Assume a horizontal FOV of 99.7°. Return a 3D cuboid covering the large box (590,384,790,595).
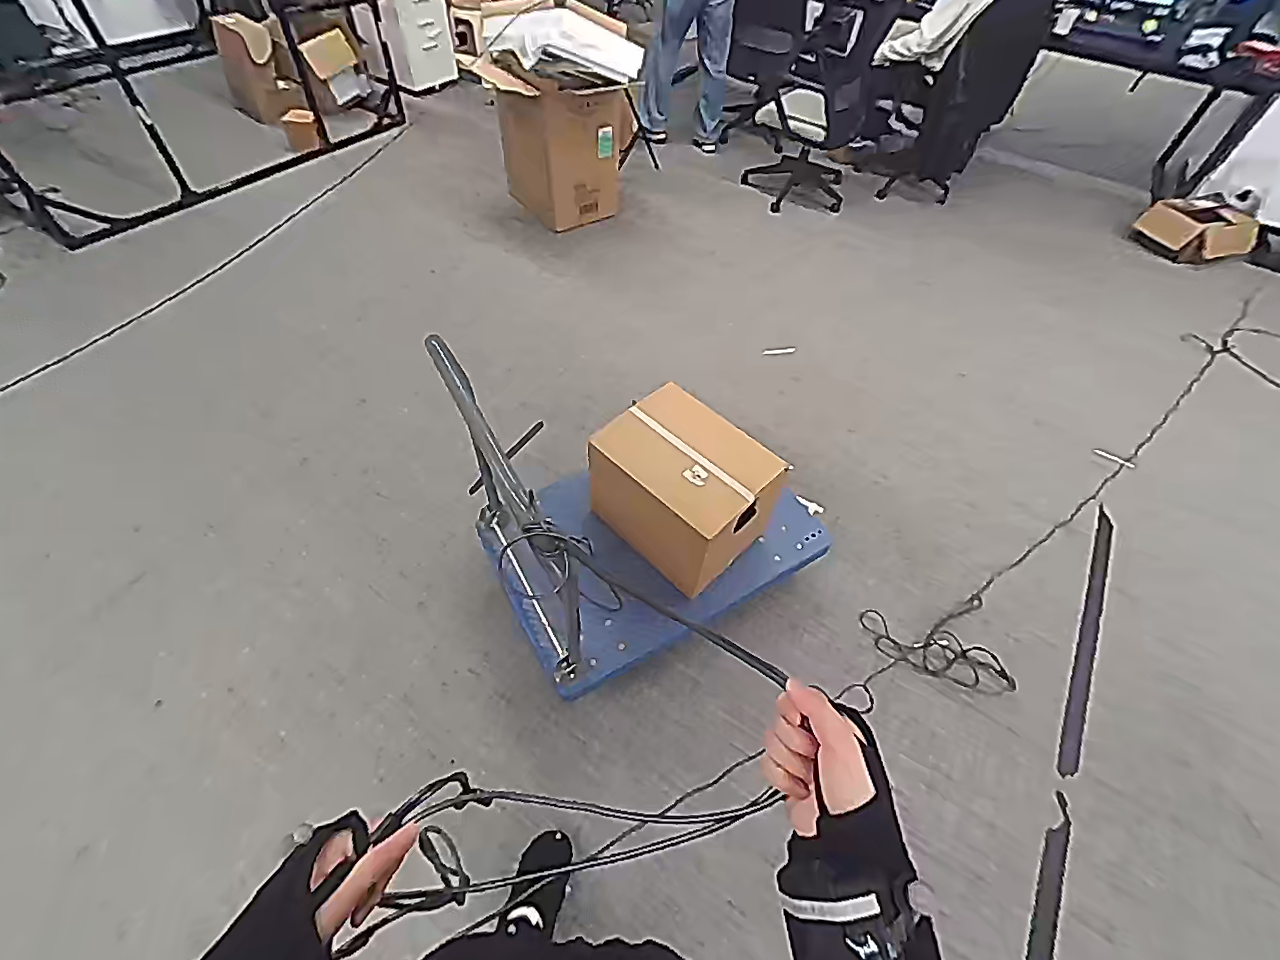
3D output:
[{"bbox_3d":[0.110,0.022,1.438,0.408,0.320,0.320,40,61,22],"label":"large box"}]
